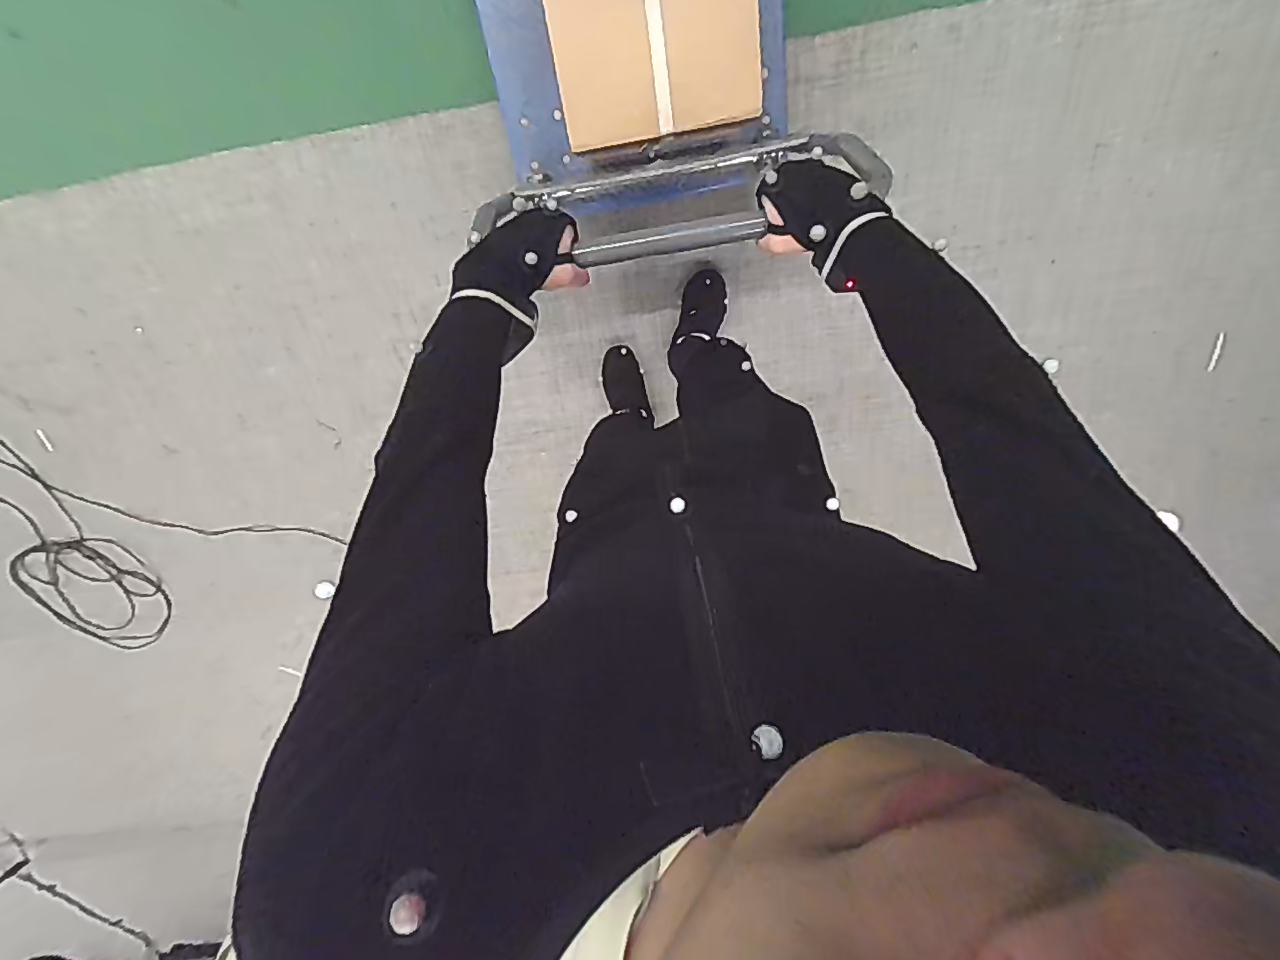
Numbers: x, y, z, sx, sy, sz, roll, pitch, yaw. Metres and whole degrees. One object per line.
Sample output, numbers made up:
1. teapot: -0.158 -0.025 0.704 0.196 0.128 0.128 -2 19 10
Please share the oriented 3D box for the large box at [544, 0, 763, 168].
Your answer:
1. large box: 0.013 -0.790 0.916 0.320 0.320 0.408 -9 117 4
